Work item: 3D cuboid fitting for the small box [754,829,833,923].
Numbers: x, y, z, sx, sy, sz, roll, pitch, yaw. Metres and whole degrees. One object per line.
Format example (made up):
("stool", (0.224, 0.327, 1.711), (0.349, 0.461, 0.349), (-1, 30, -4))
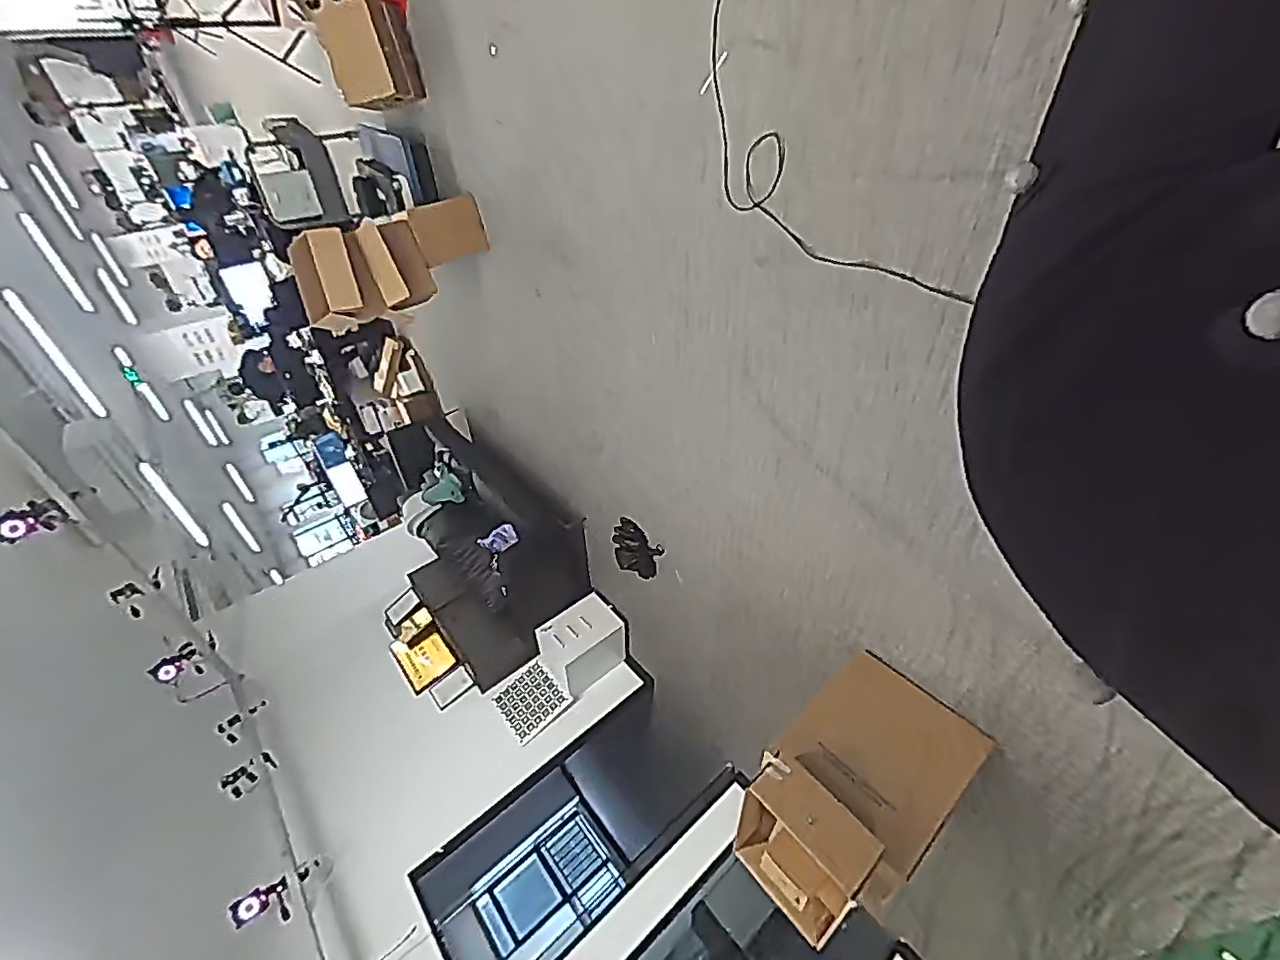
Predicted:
("small box", (0.502, 1.292, 1.780), (0.179, 0.176, 0.168), (37, 145, 39))
